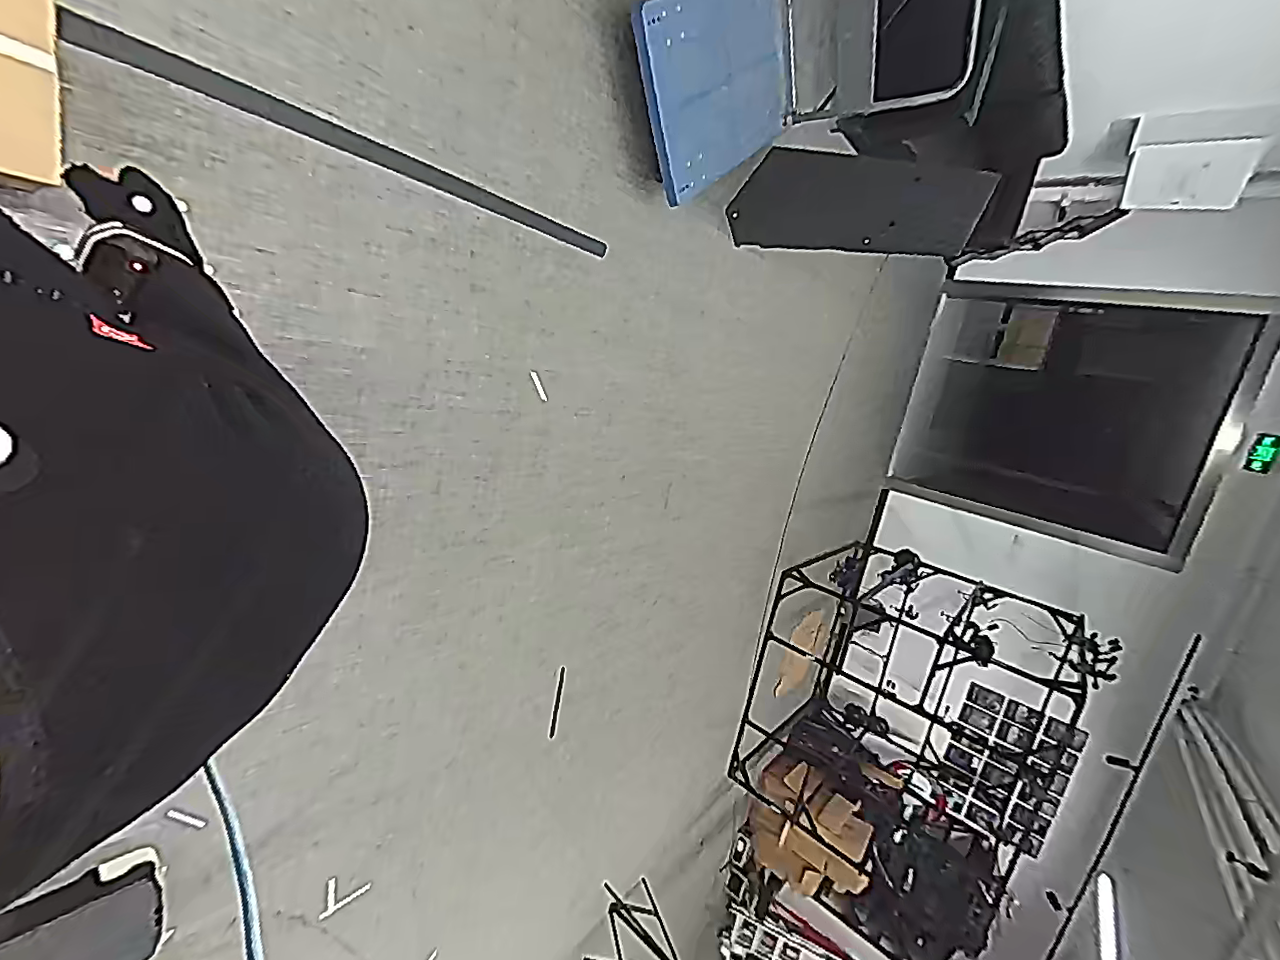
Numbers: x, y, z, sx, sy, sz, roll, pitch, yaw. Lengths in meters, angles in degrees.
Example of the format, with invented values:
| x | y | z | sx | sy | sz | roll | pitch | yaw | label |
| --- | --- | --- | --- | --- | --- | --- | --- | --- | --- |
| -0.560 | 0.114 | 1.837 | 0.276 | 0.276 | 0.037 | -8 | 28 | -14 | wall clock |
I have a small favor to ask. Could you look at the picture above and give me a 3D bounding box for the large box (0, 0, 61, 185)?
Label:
| x | y | z | sx | sy | sz | roll | pitch | yaw | label |
| --- | --- | --- | --- | --- | --- | --- | --- | --- | --- |
| -1.050 | -0.606 | 0.676 | 0.408 | 0.320 | 0.320 | -6 | 112 | -53 | large box |
